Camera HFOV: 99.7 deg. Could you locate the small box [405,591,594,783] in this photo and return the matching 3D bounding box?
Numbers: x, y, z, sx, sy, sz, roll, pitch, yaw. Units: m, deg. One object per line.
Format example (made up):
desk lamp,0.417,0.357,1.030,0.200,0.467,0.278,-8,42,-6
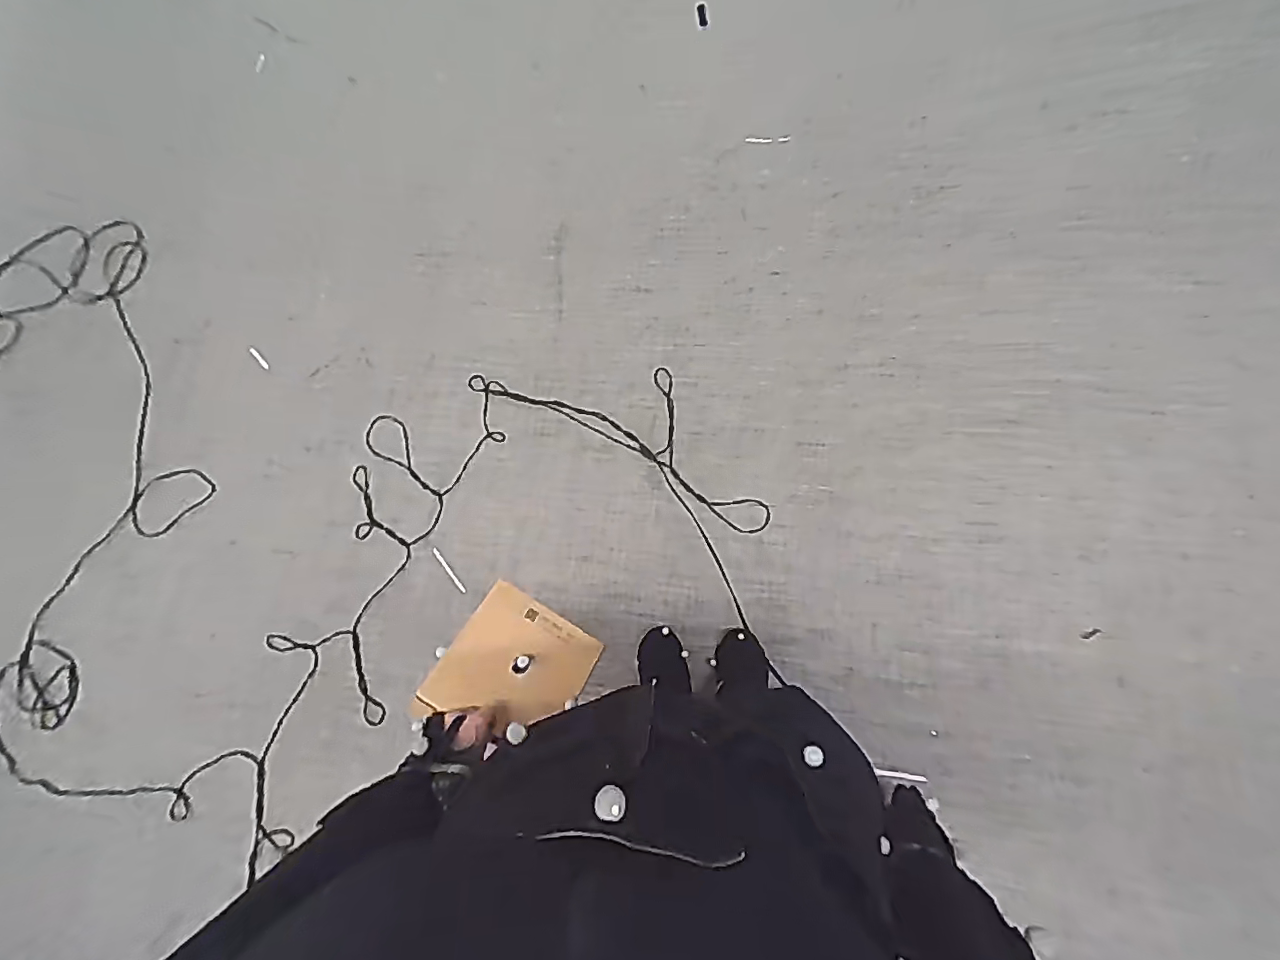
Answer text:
small box,-0.182,0.273,0.718,0.168,0.179,0.176,35,52,-5
